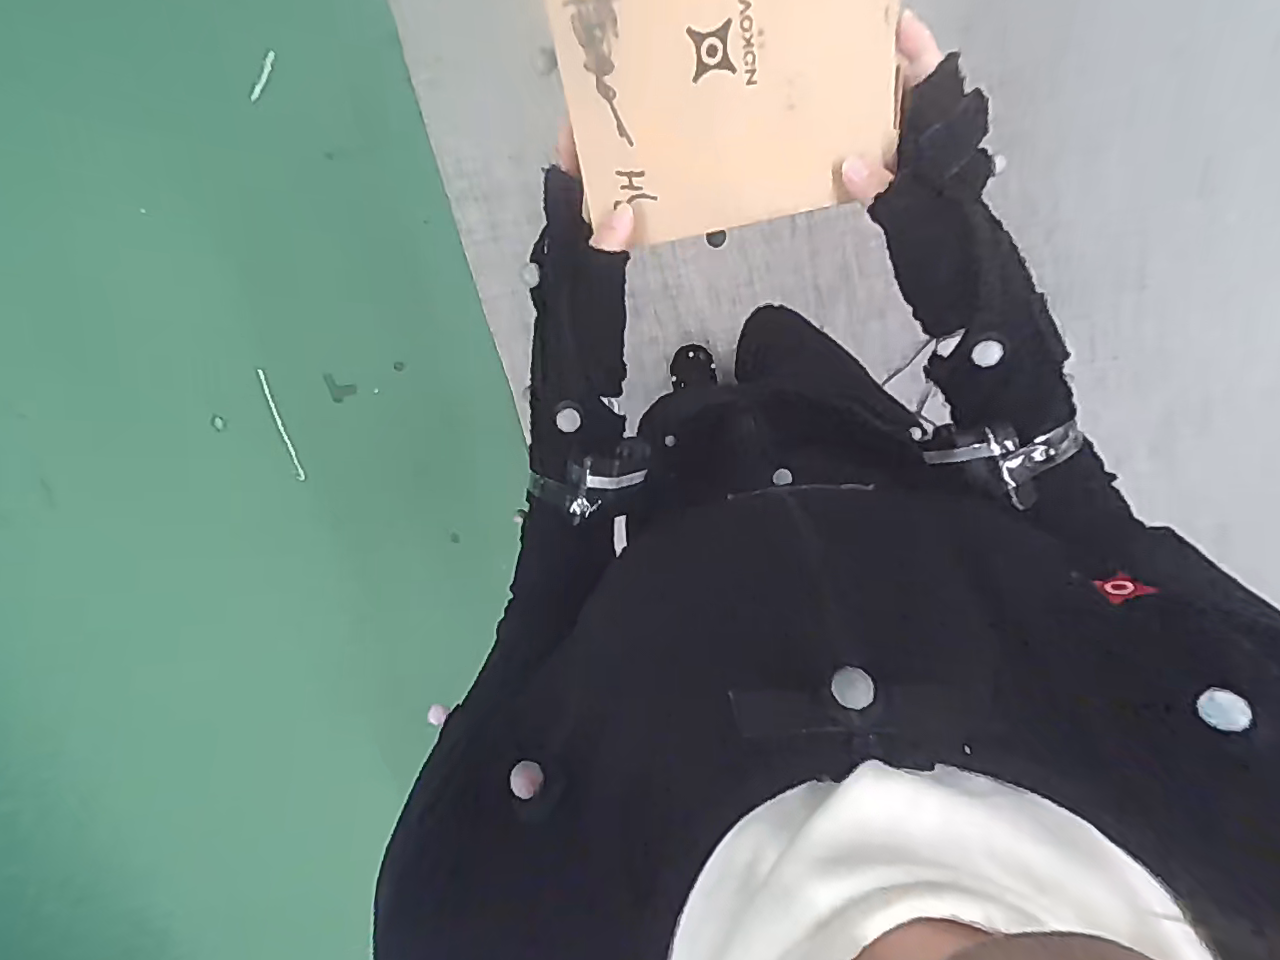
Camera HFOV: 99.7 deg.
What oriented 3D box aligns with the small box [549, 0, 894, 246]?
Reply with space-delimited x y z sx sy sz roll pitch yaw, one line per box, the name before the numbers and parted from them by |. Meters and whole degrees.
small box | 0.042 -0.259 0.352 0.179 0.176 0.168 -10 115 3
